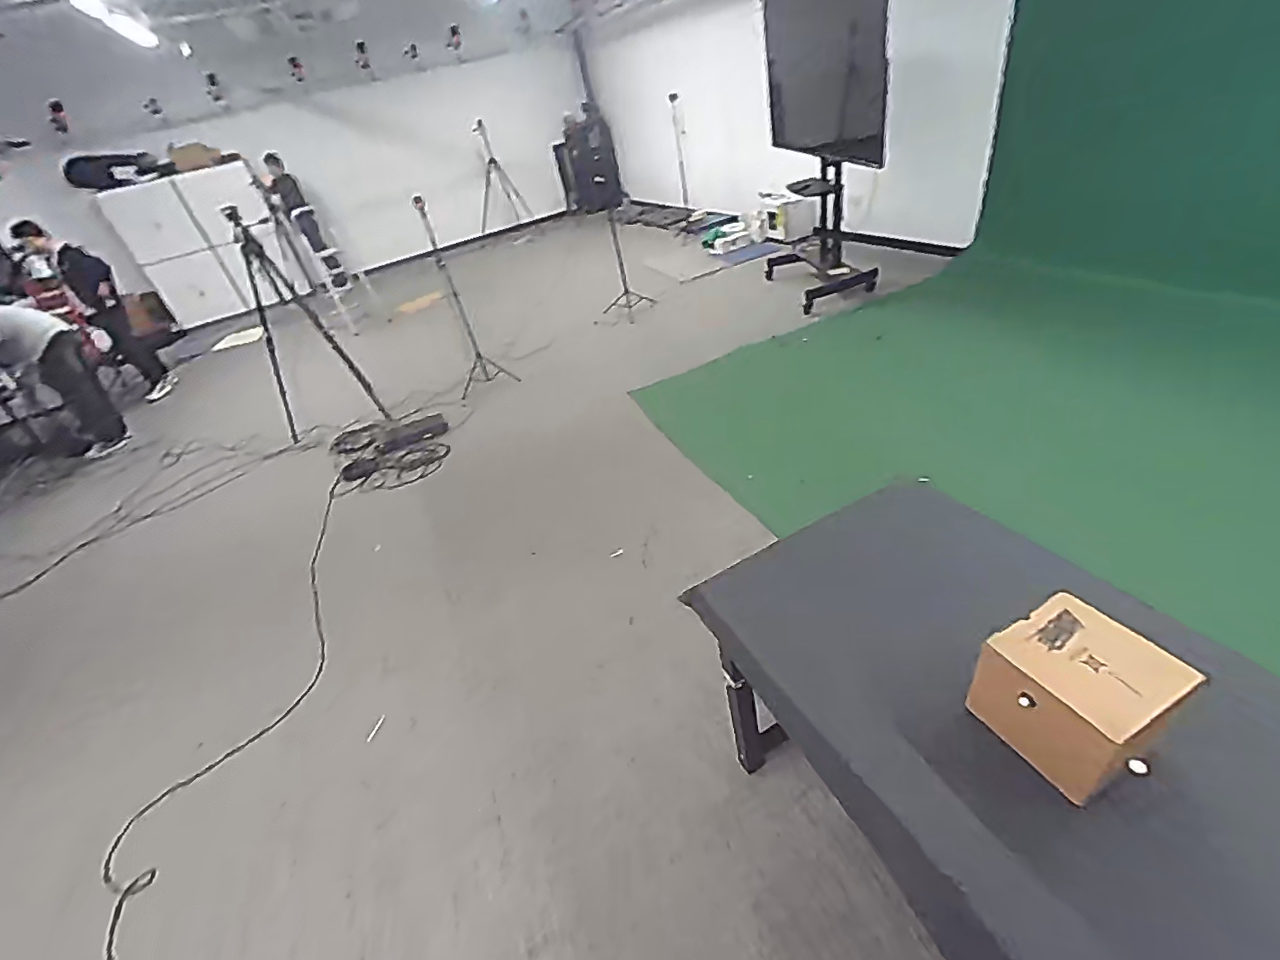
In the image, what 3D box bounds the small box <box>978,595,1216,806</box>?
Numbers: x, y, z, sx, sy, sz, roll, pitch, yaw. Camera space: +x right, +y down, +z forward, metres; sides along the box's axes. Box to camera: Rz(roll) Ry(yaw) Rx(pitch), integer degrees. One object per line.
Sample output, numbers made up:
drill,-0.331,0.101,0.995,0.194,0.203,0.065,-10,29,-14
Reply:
small box,0.609,0.301,0.750,0.168,0.176,0.179,-24,37,-14
